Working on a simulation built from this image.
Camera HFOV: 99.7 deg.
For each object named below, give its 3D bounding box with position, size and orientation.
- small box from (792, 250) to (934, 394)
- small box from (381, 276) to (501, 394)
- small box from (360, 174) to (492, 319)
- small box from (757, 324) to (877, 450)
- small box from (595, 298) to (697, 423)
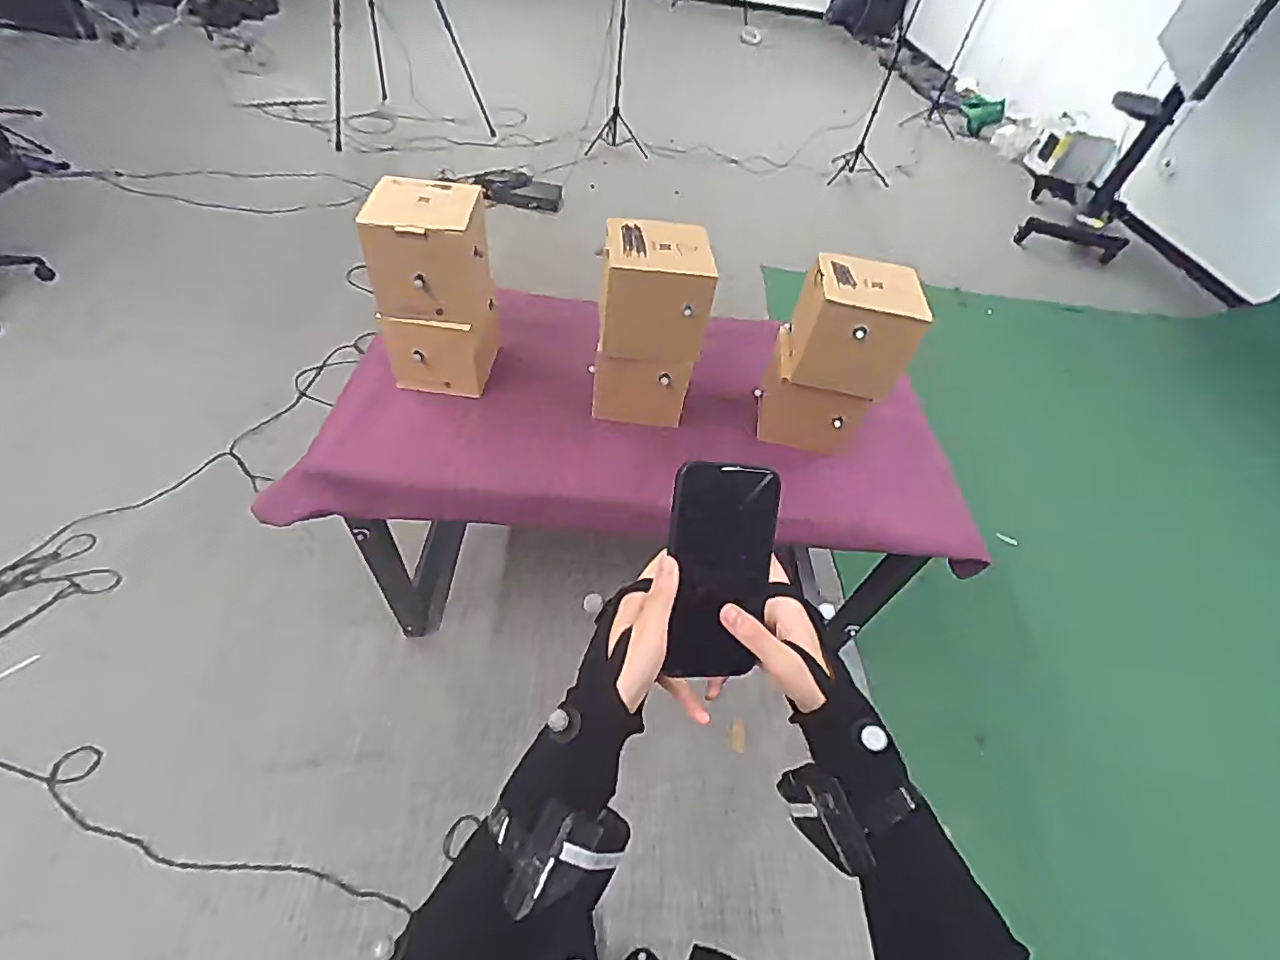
[{"bbox_3d":[0.373,-0.272,0.947,0.179,0.176,0.168,11,50,0],"label":"small box"},{"bbox_3d":[-0.377,-0.291,1.064,0.168,0.176,0.179,7,50,-3],"label":"small box"},{"bbox_3d":[-0.358,-0.402,0.944,0.168,0.176,0.179,4,51,-7],"label":"small box"},{"bbox_3d":[0.346,-0.181,1.081,0.179,0.176,0.168,11,50,1],"label":"small box"},{"bbox_3d":[0.010,-0.231,1.071,0.179,0.176,0.168,6,50,-3],"label":"small box"}]
